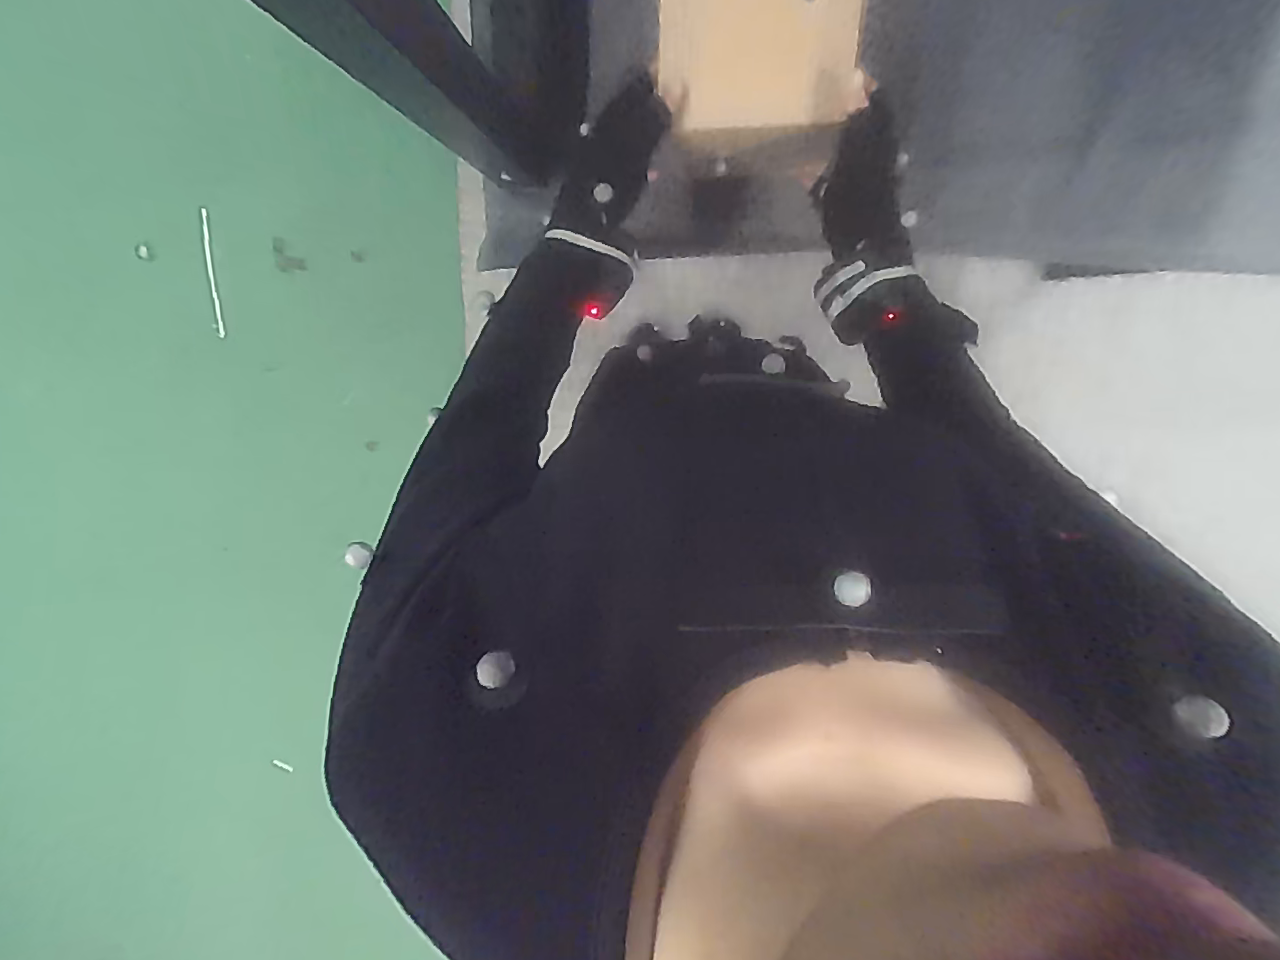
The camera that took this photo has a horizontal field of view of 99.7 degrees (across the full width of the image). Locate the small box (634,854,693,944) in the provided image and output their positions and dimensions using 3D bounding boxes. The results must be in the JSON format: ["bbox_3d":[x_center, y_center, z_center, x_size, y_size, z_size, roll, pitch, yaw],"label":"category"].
[{"bbox_3d":[0.080,1.429,1.853,0.168,0.176,0.179,11,108,0],"label":"small box"}]
